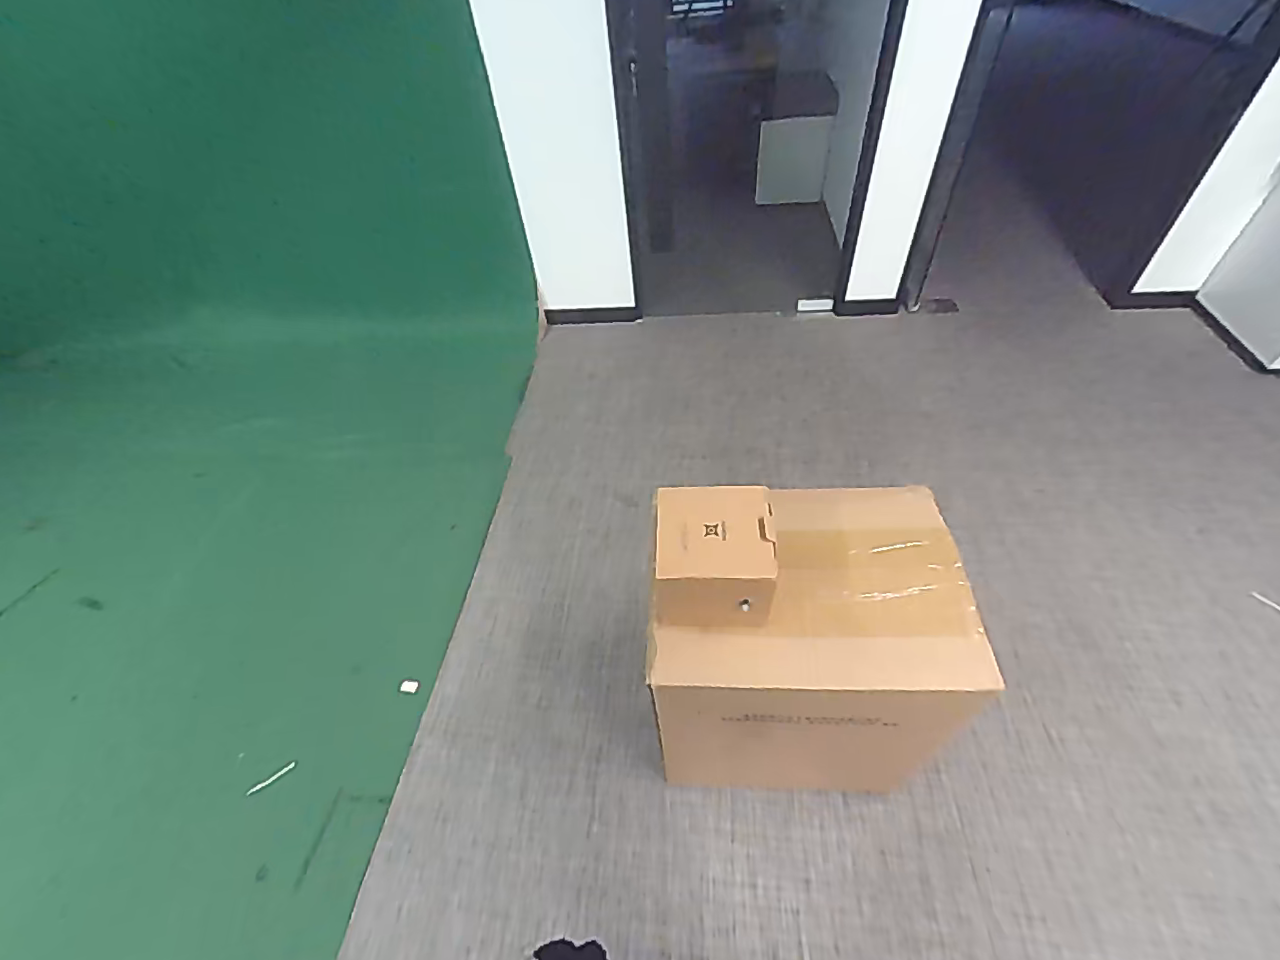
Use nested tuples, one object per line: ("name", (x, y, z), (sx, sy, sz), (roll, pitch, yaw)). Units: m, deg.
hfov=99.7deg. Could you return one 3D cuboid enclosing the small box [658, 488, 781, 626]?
("small box", (0.123, 0.129, 0.880), (0.179, 0.176, 0.168), (-2, 51, 6))
